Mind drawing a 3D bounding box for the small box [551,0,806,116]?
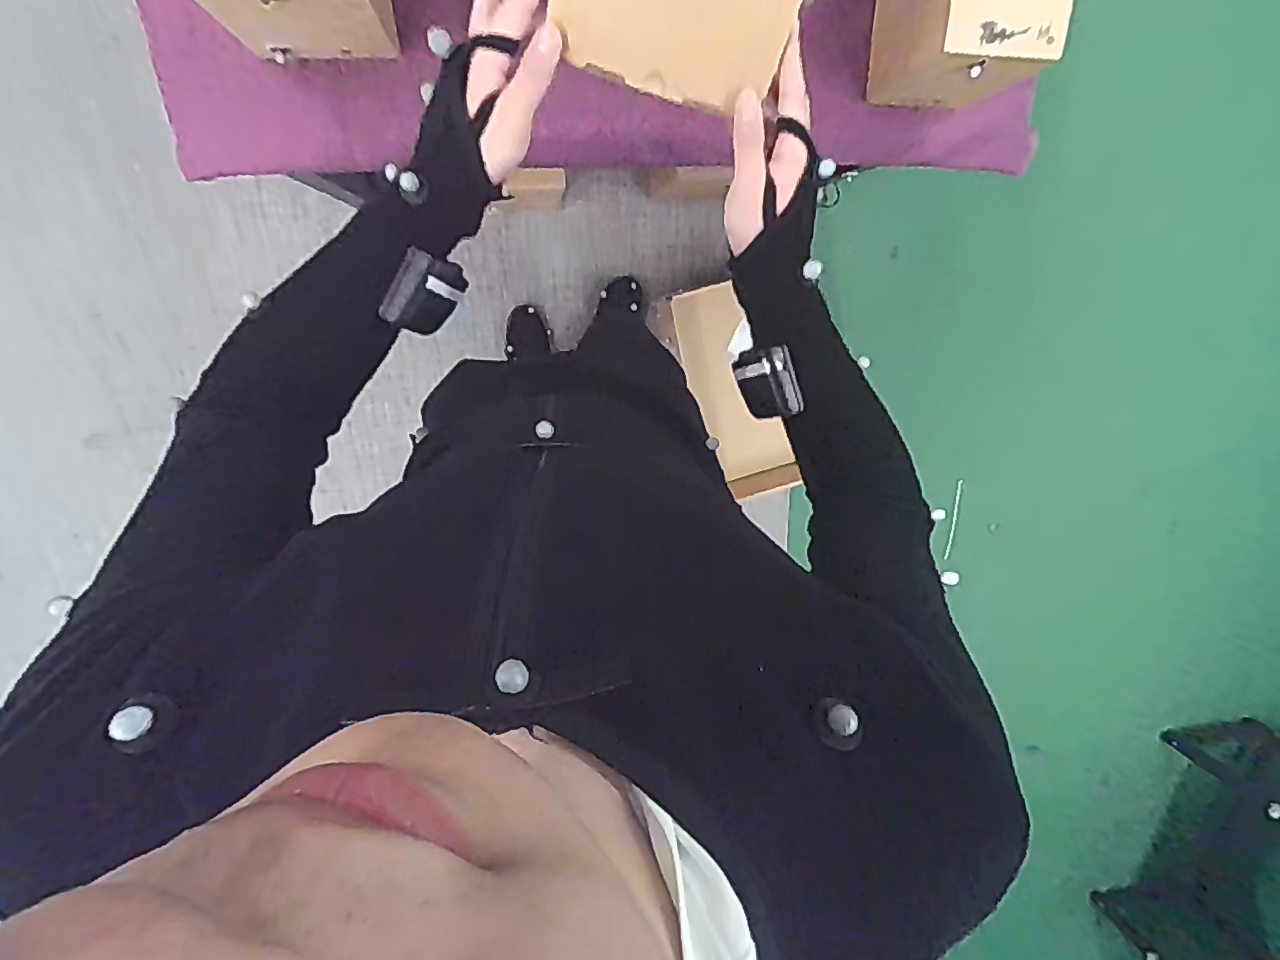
[{"bbox_3d":[0.035,-0.405,0.387,0.168,0.176,0.179,9,137,-12],"label":"small box"}]

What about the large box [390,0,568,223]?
[{"bbox_3d":[-0.347,-0.821,1.199,0.320,0.320,0.408,-8,109,-9],"label":"large box"}]

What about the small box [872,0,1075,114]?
[{"bbox_3d":[0.428,-0.616,0.708,0.168,0.176,0.179,-3,106,-8],"label":"small box"}]

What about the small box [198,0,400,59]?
[{"bbox_3d":[-0.367,-0.574,0.567,0.168,0.176,0.179,-8,108,-9],"label":"small box"}]
